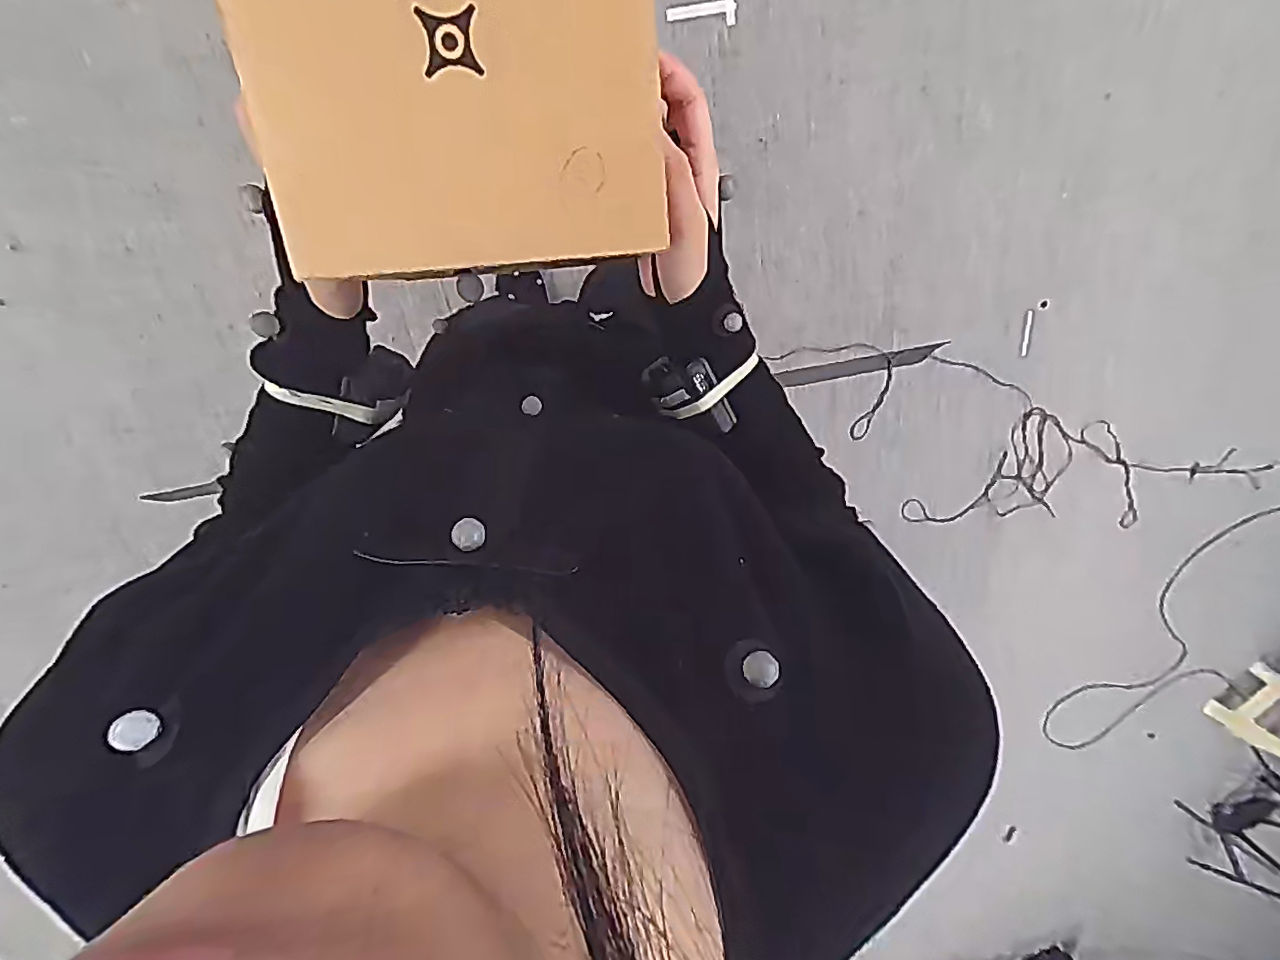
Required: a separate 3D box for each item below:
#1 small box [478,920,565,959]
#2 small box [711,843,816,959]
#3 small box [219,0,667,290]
[{"bbox_3d":[-0.234,1.042,1.091,0.168,0.176,0.179,-7,114,-10],"label":"small box"},{"bbox_3d":[0.255,0.915,1.141,0.168,0.176,0.179,-11,114,-8],"label":"small box"},{"bbox_3d":[-0.081,-0.199,0.284,0.168,0.176,0.179,-6,110,-5],"label":"small box"}]
